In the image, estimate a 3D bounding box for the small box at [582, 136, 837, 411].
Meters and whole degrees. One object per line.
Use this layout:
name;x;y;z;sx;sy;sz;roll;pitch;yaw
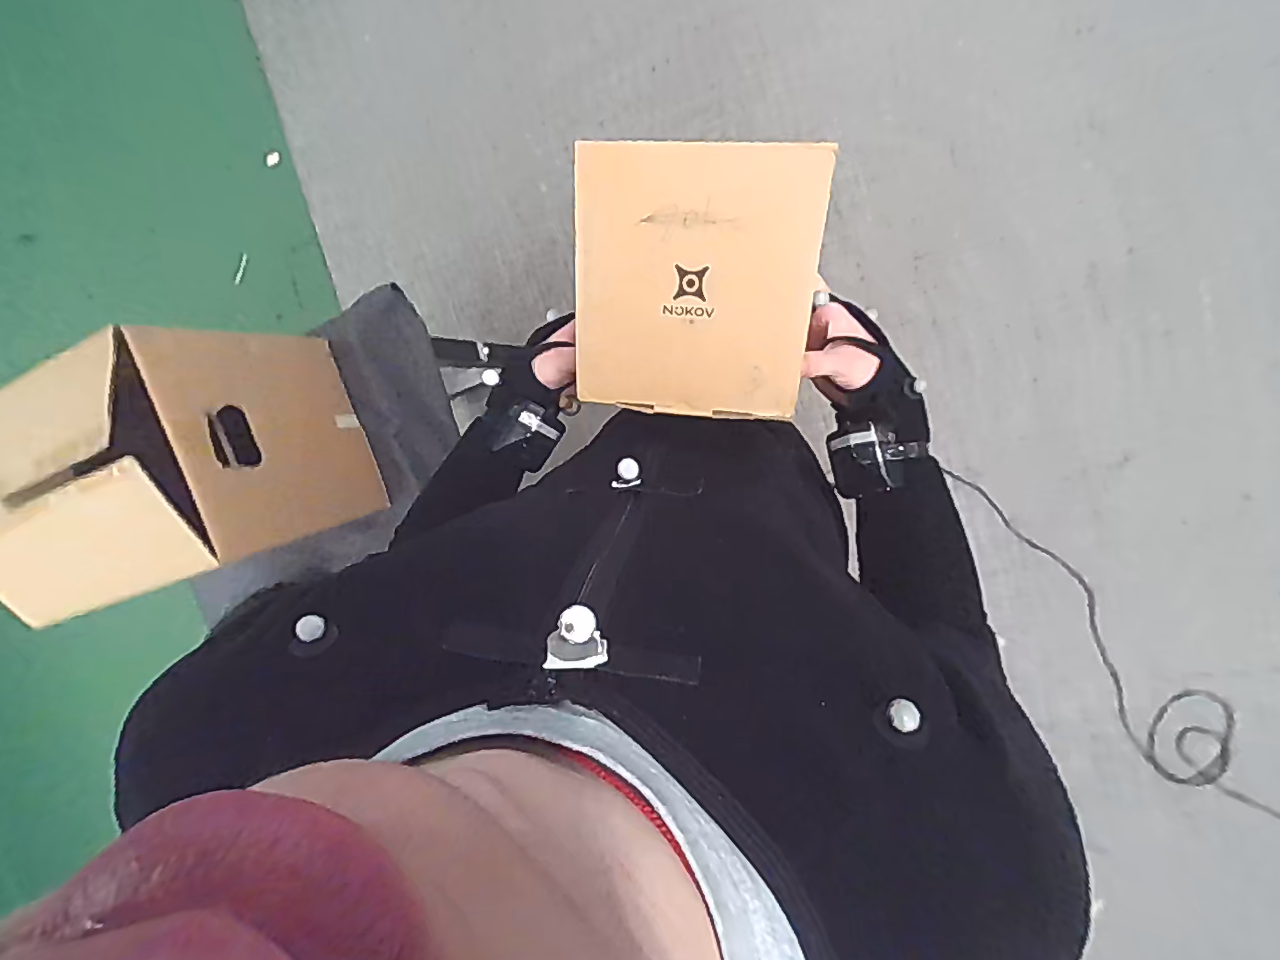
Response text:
small box;0.054;-0.169;0.448;0.168;0.176;0.179;6;113;9
